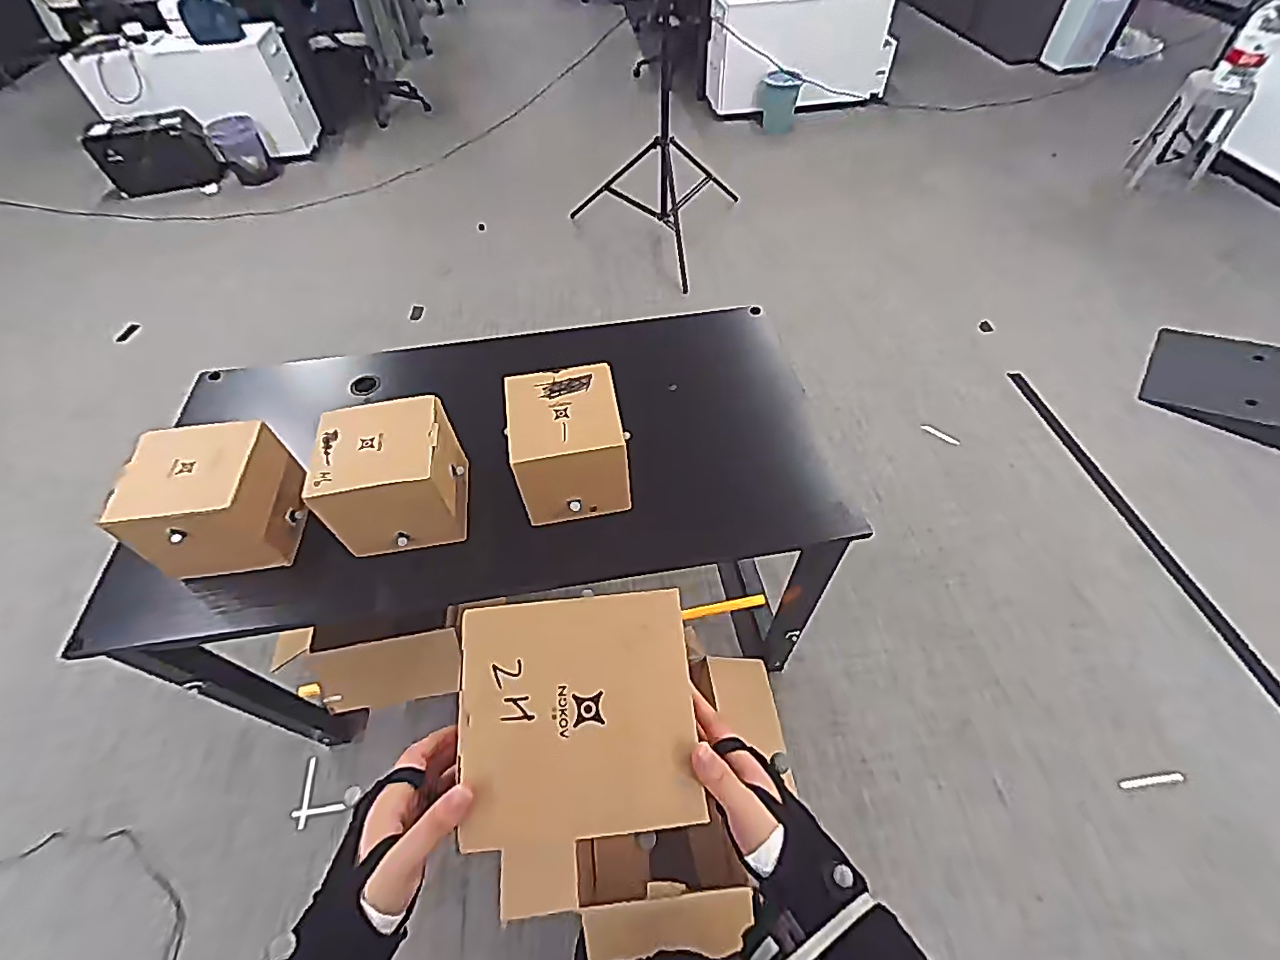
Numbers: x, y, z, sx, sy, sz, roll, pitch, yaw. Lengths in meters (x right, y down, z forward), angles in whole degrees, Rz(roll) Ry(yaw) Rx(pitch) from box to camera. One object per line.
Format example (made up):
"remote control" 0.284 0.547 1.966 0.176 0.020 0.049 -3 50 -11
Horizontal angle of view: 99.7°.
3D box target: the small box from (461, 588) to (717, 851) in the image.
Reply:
"small box" -0.043 0.199 0.468 0.179 0.176 0.168 -5 65 -3

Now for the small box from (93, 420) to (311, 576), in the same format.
"small box" -0.637 0.033 0.820 0.179 0.176 0.168 -6 54 -4

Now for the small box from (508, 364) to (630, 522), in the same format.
"small box" -0.111 -0.057 0.865 0.168 0.176 0.179 -10 54 -5

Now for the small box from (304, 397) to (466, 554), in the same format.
"small box" -0.376 -0.004 0.837 0.179 0.176 0.168 -9 53 -6
